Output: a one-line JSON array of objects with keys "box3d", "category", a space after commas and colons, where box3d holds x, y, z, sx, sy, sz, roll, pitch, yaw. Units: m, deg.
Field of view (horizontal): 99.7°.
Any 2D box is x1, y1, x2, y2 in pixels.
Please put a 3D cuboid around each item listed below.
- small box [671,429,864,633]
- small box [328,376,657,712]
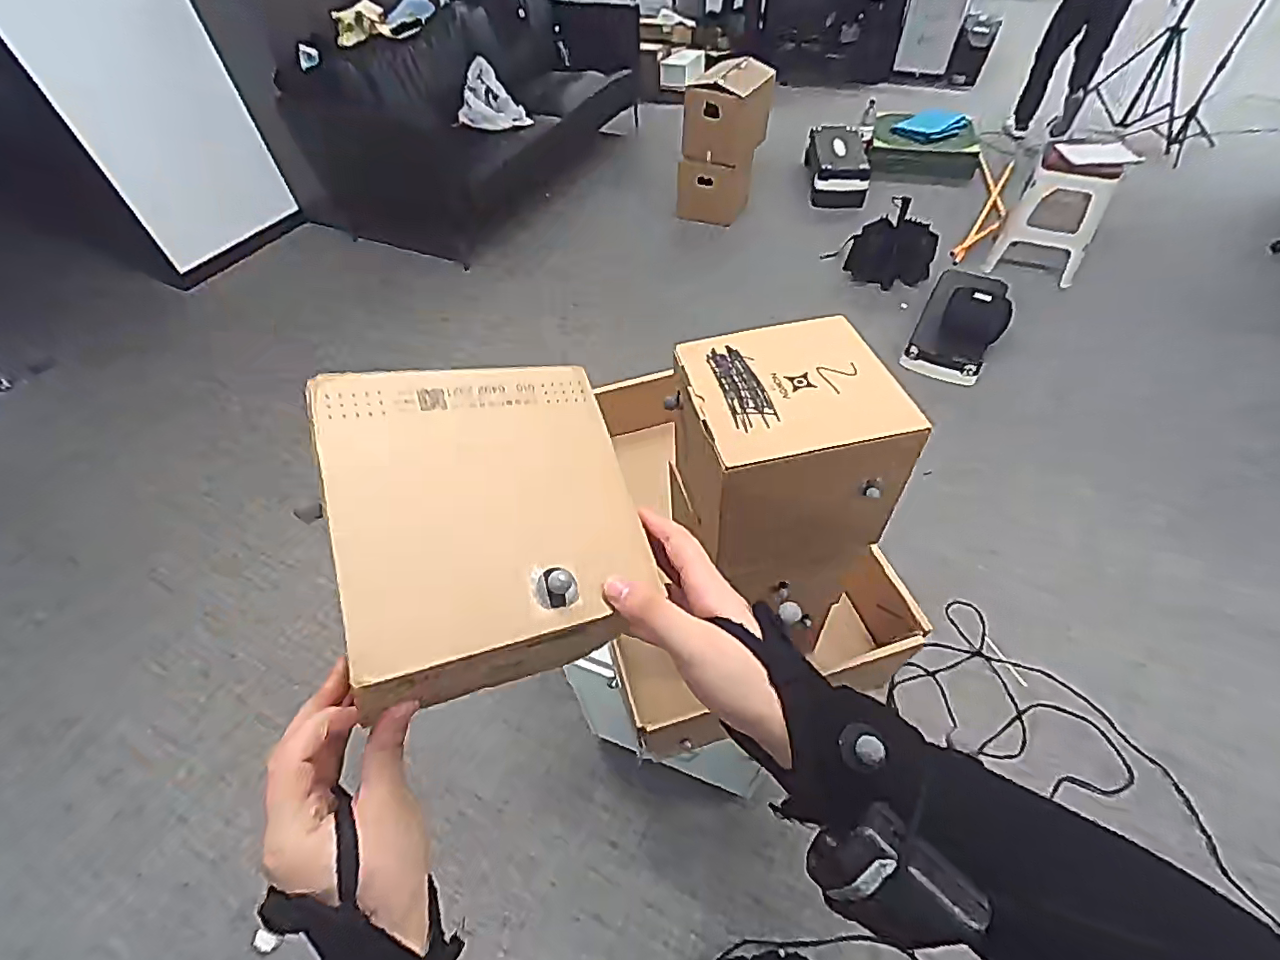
[{"box3d": [0.144, 0.067, 0.678, 0.179, 0.176, 0.168, -14, 49, -6], "category": "small box"}, {"box3d": [-0.115, 0.045, 0.384, 0.168, 0.179, 0.176, -8, 66, -29], "category": "small box"}]
